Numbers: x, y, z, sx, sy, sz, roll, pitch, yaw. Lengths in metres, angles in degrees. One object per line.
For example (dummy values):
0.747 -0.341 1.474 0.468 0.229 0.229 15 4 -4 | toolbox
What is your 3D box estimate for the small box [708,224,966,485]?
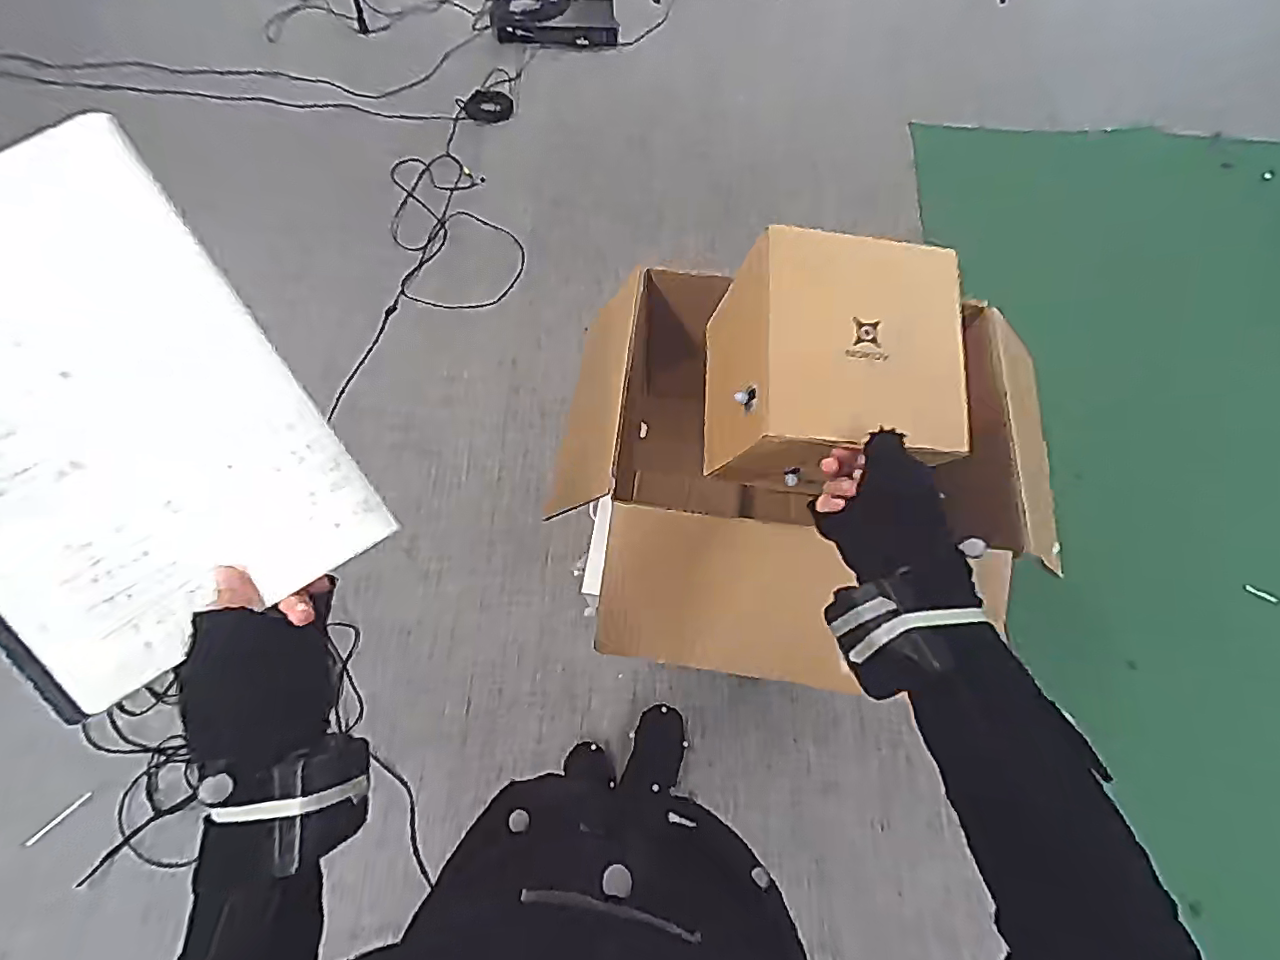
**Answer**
0.164 -0.100 0.504 0.168 0.176 0.179 4 79 -9 | small box
